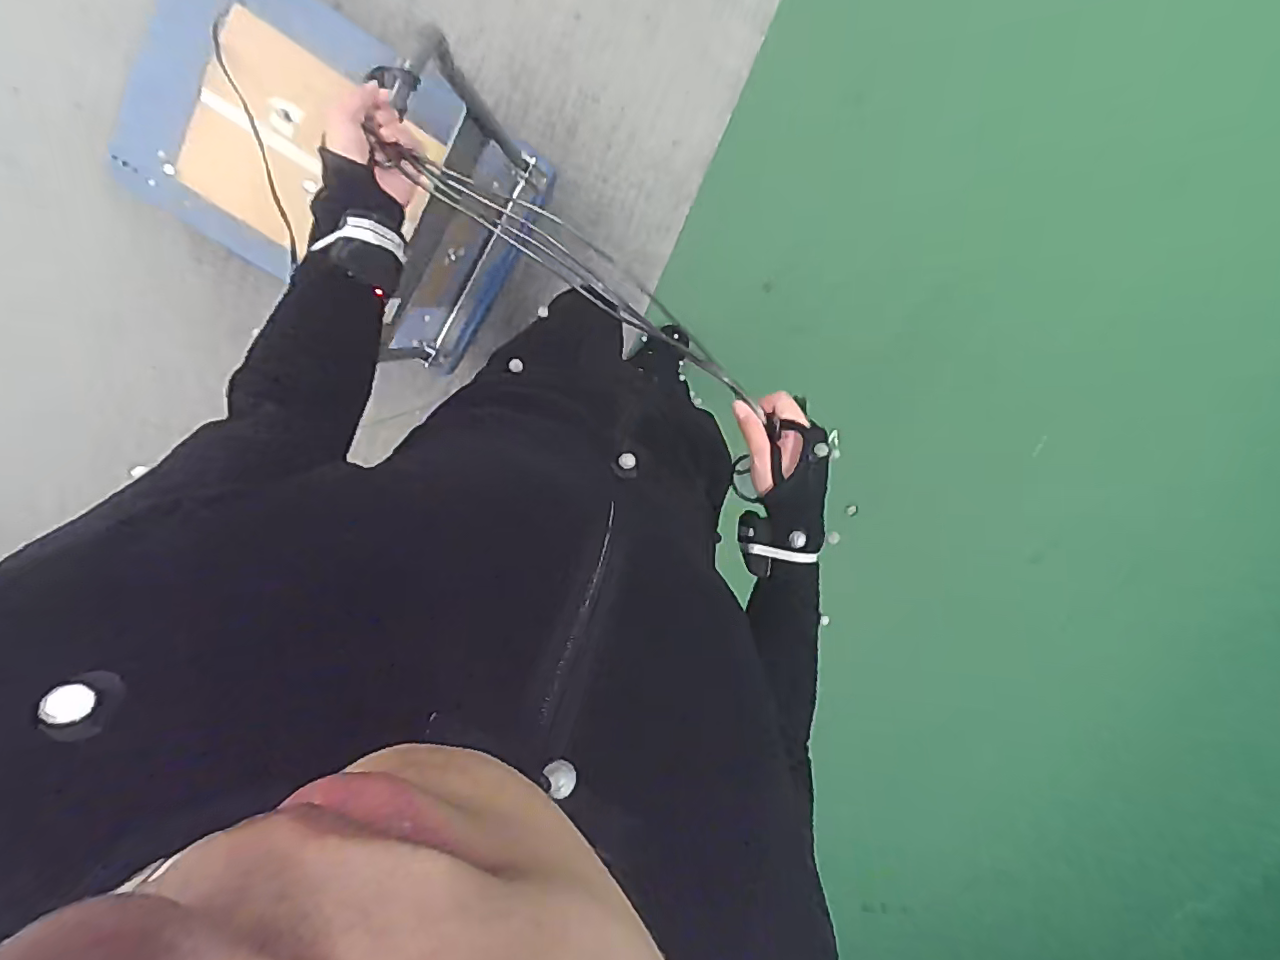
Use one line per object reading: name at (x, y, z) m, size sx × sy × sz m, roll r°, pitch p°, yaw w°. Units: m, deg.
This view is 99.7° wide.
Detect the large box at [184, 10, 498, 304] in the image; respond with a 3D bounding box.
large box at (-0.565, -0.598, 1.096) m, size 0.408 × 0.320 × 0.320 m, roll 31°, pitch 104°, yaw -9°
